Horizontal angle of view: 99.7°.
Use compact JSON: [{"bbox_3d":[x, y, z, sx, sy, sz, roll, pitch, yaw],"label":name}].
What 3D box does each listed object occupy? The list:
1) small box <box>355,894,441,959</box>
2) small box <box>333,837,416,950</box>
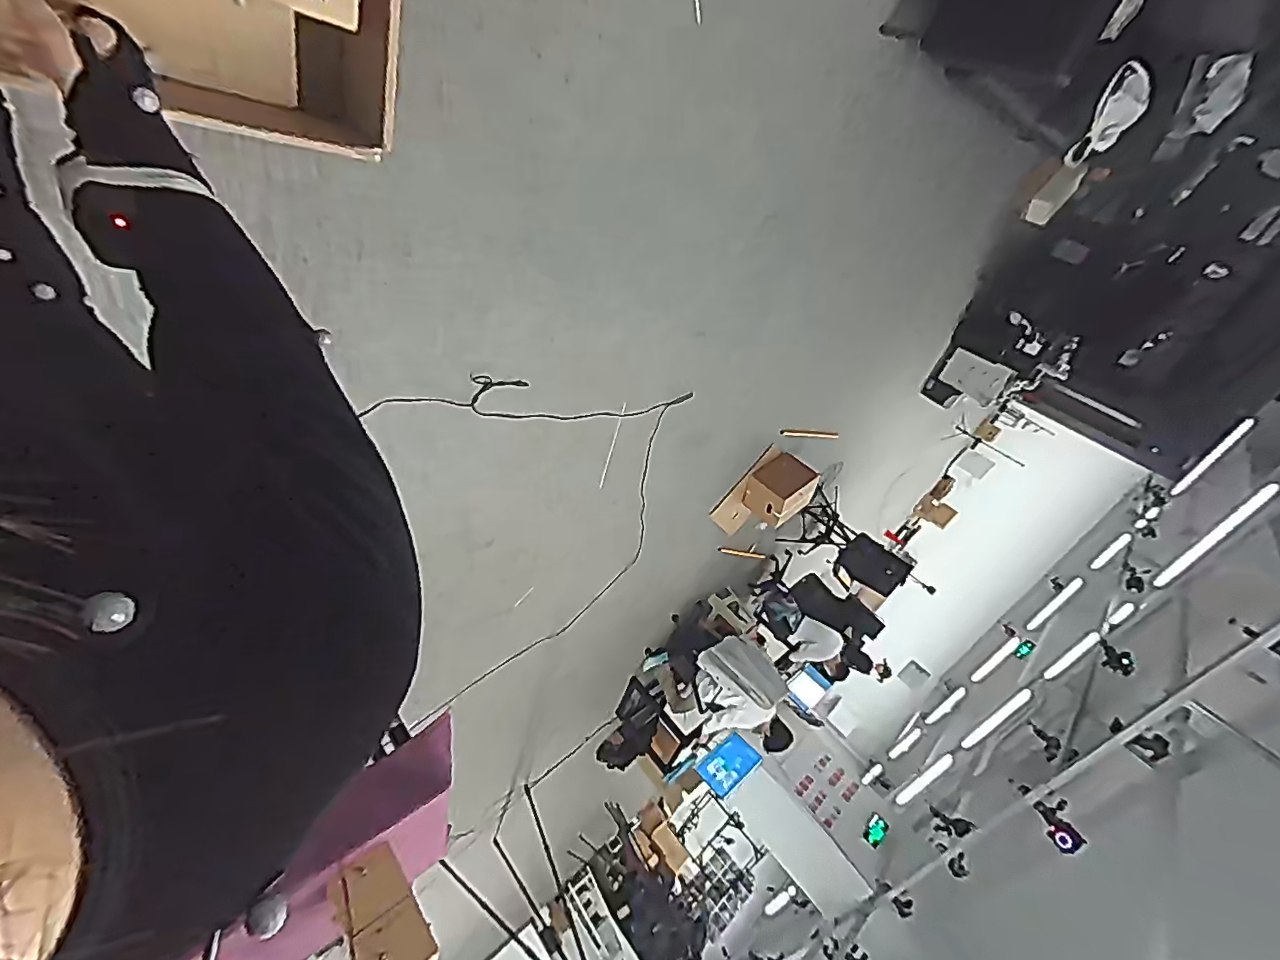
[{"bbox_3d":[-0.671,1.294,1.489,0.168,0.176,0.179,-16,139,-42],"label":"small box"},{"bbox_3d":[-0.773,1.193,1.568,0.179,0.176,0.168,-17,139,-41],"label":"small box"}]
